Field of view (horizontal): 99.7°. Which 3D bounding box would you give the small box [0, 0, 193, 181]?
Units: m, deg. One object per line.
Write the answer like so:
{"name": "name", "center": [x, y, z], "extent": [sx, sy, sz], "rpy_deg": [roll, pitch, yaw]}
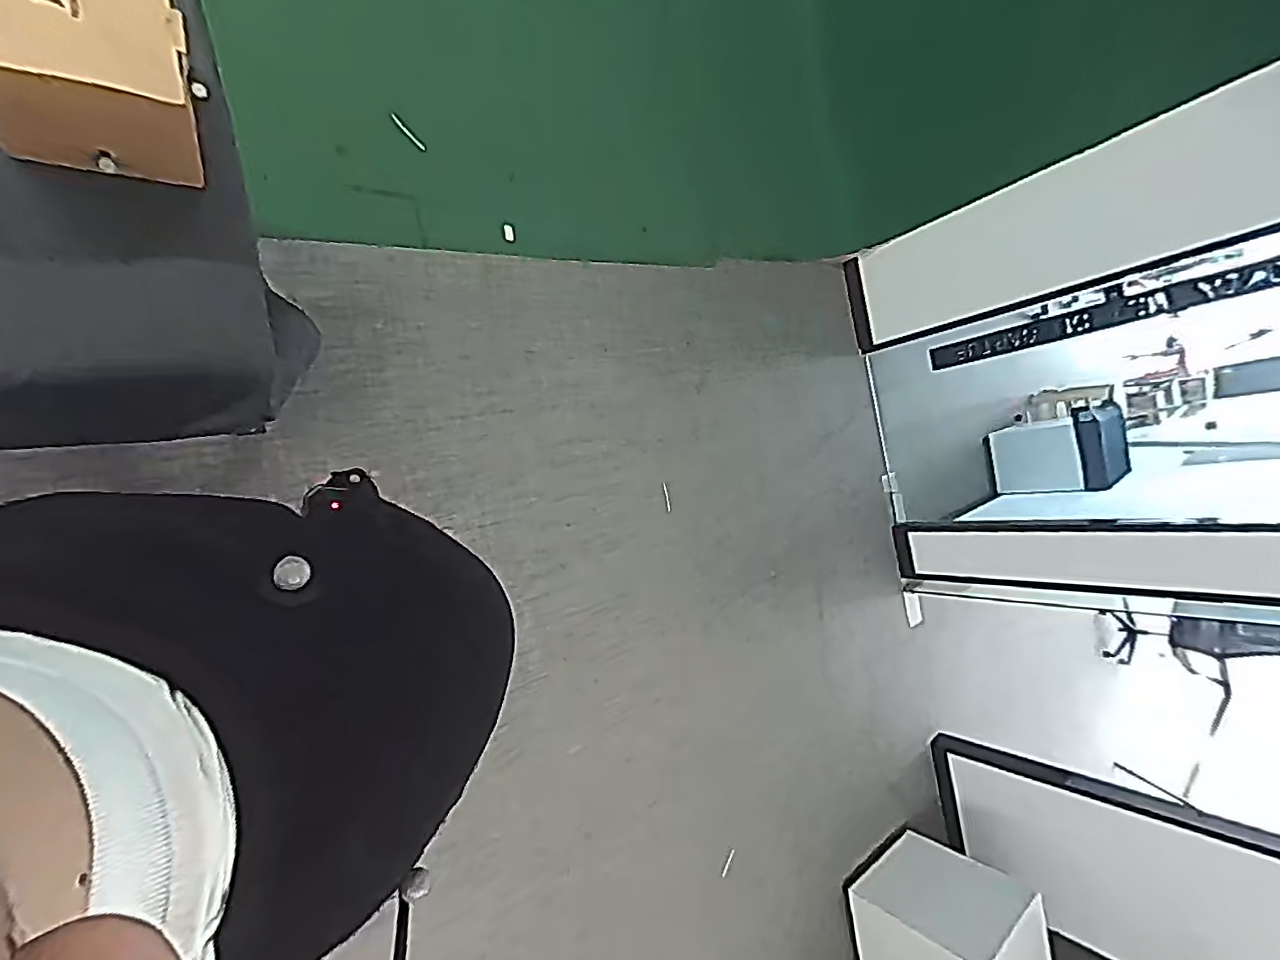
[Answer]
{"name": "small box", "center": [-0.606, -0.456, 0.585], "extent": [0.179, 0.176, 0.168], "rpy_deg": [-8, 91, -36]}
